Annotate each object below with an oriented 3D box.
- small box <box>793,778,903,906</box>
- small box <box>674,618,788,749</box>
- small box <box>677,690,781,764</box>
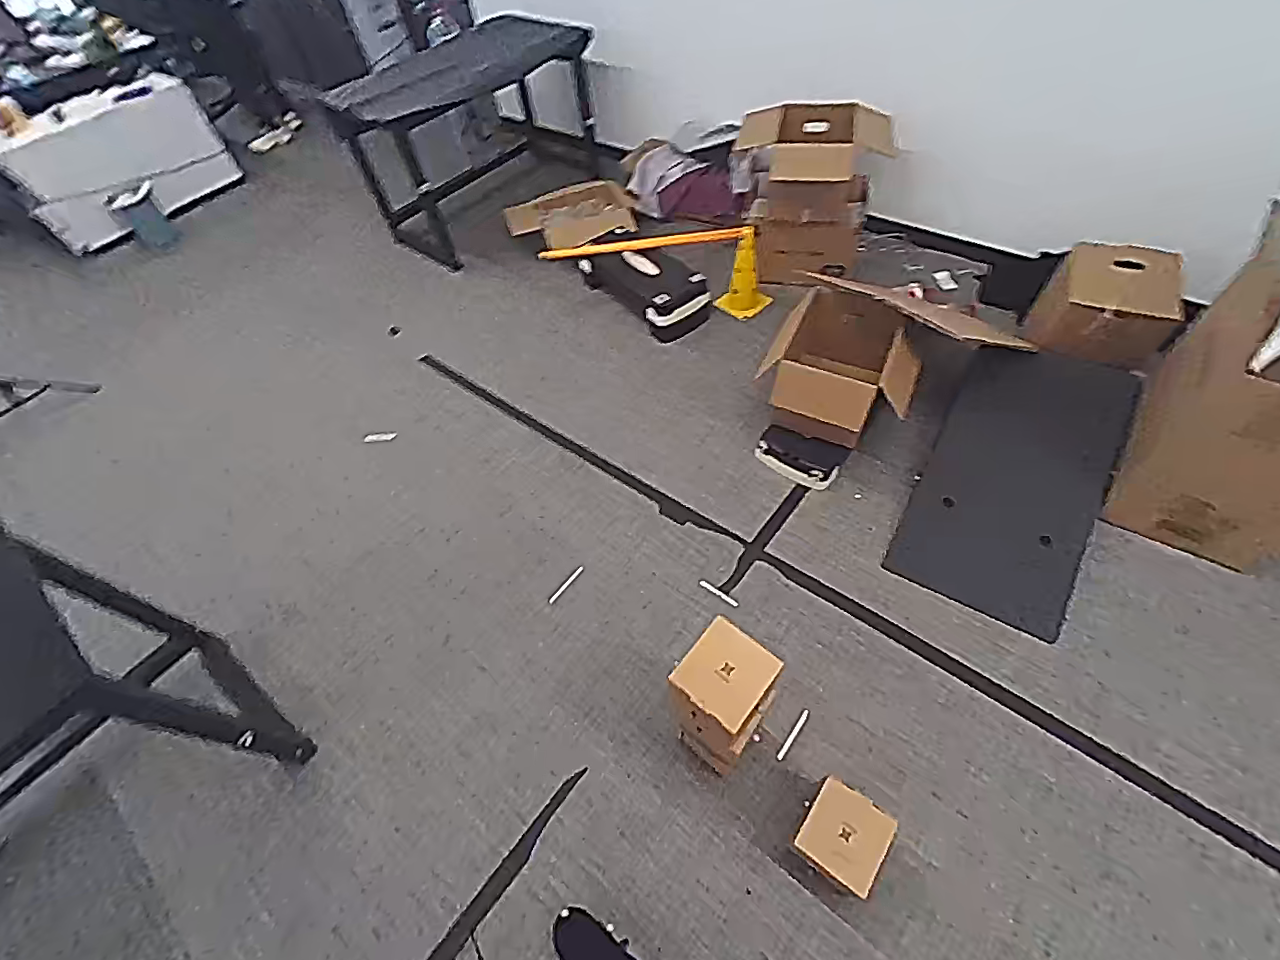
[{"bbox_3d":[0.465,0.823,1.236,0.168,0.176,0.179,29,63,26],"label":"small box"},{"bbox_3d":[0.185,0.432,1.143,0.168,0.176,0.179,34,65,25],"label":"small box"},{"bbox_3d":[0.203,0.536,1.267,0.179,0.176,0.168,32,63,24],"label":"small box"}]
